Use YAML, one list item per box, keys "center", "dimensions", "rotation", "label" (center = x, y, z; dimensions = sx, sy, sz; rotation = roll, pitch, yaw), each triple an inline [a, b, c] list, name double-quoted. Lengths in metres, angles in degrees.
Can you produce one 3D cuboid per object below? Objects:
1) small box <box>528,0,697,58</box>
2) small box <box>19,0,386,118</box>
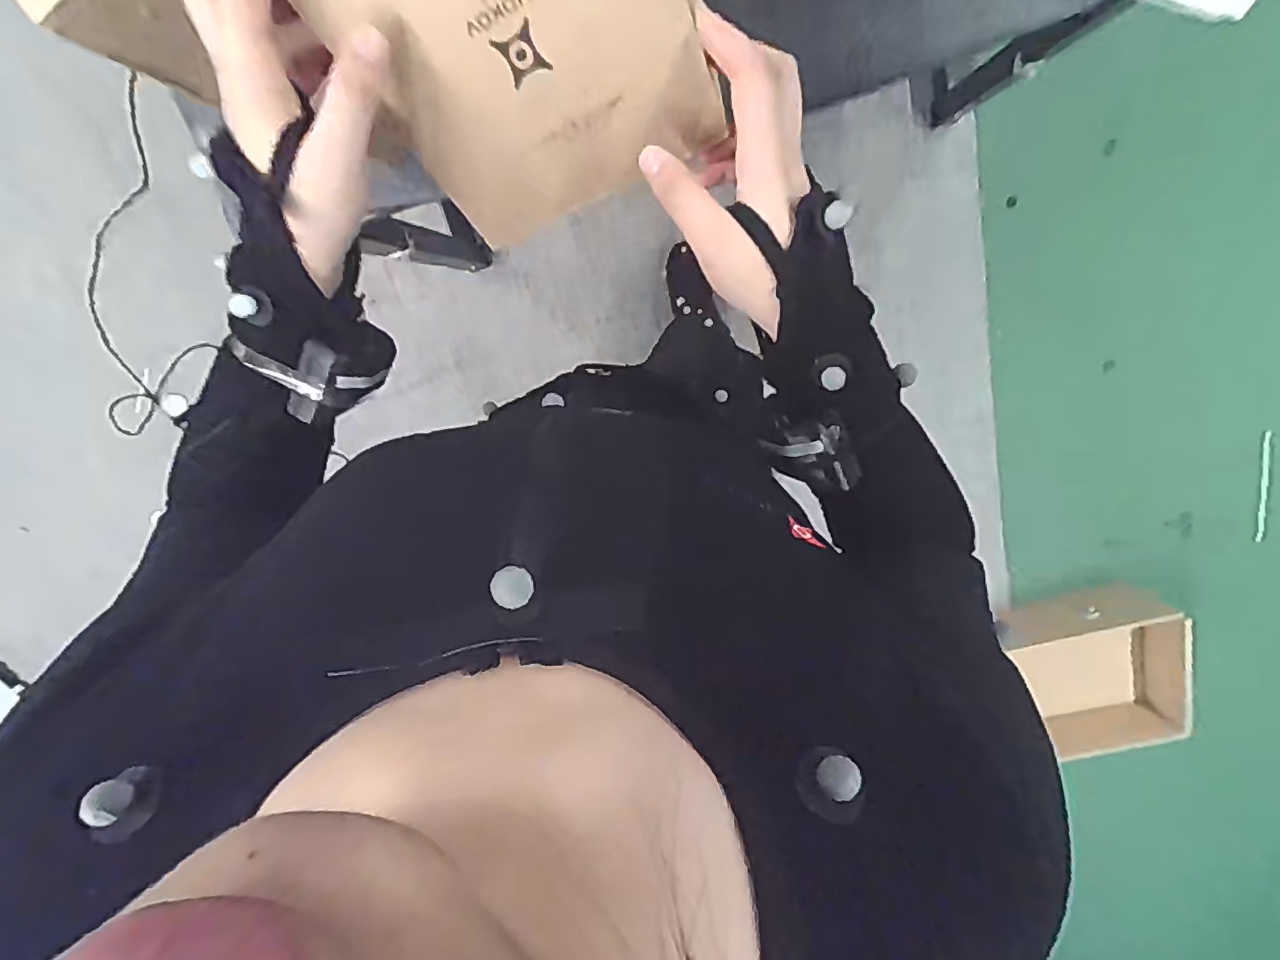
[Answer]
- center: [-0.040, -0.533, 0.485]
  dimensions: [0.168, 0.176, 0.179]
  rotation: [-11, 106, 8]
  label: "small box"
- center: [-0.318, -0.396, 0.372]
  dimensions: [0.179, 0.176, 0.168]
  rotation: [-27, 104, 12]
  label: "small box"
